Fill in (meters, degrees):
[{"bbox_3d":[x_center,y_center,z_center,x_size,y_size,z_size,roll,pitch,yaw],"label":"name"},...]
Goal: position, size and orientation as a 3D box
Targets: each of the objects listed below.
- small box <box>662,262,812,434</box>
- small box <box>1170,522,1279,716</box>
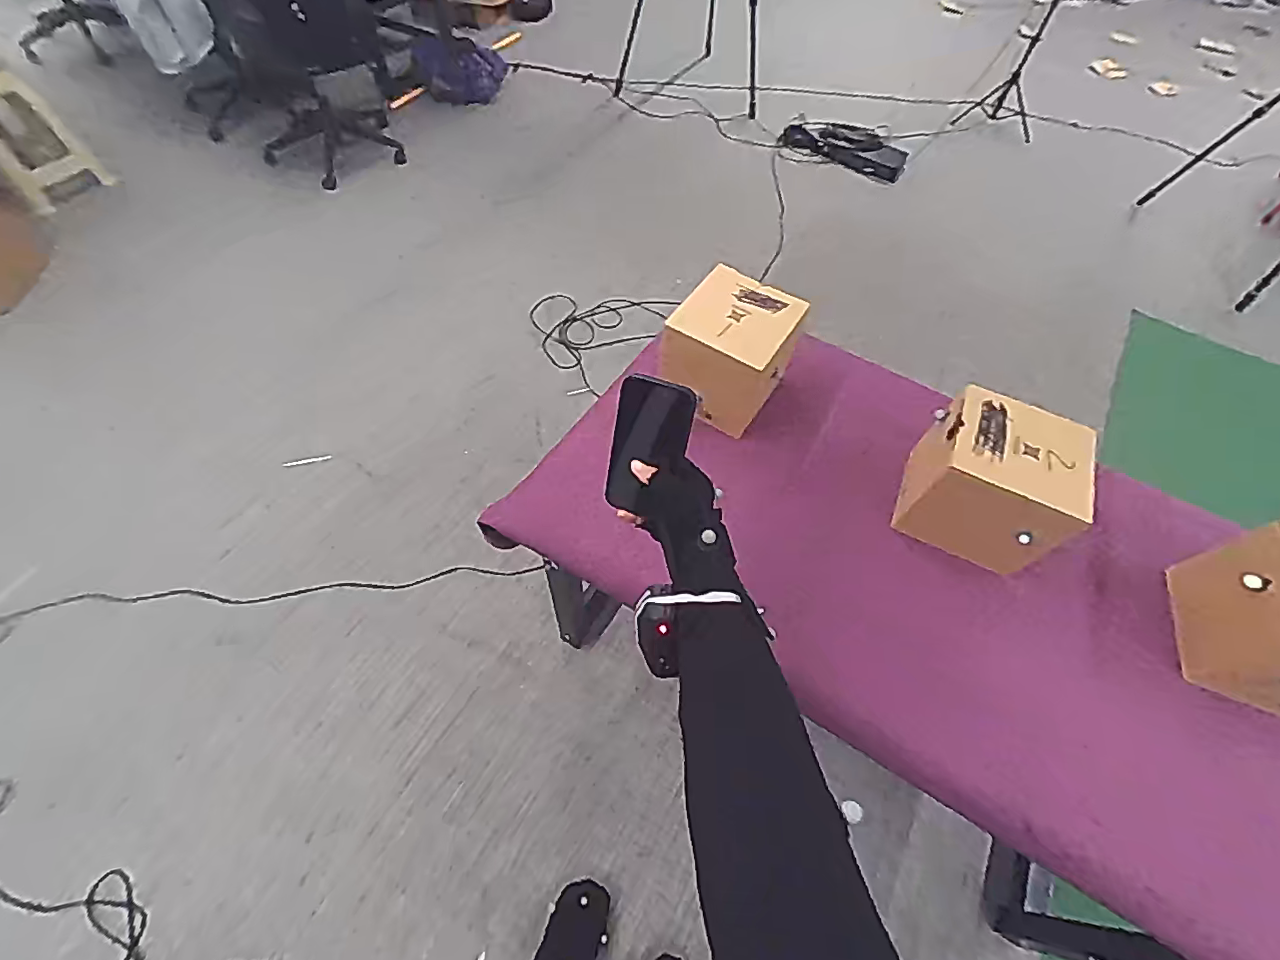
[{"bbox_3d":[0.147,-0.211,0.880,0.168,0.176,0.179,31,62,15],"label":"small box"},{"bbox_3d":[0.828,0.188,0.677,0.168,0.176,0.179,20,58,10],"label":"small box"}]
